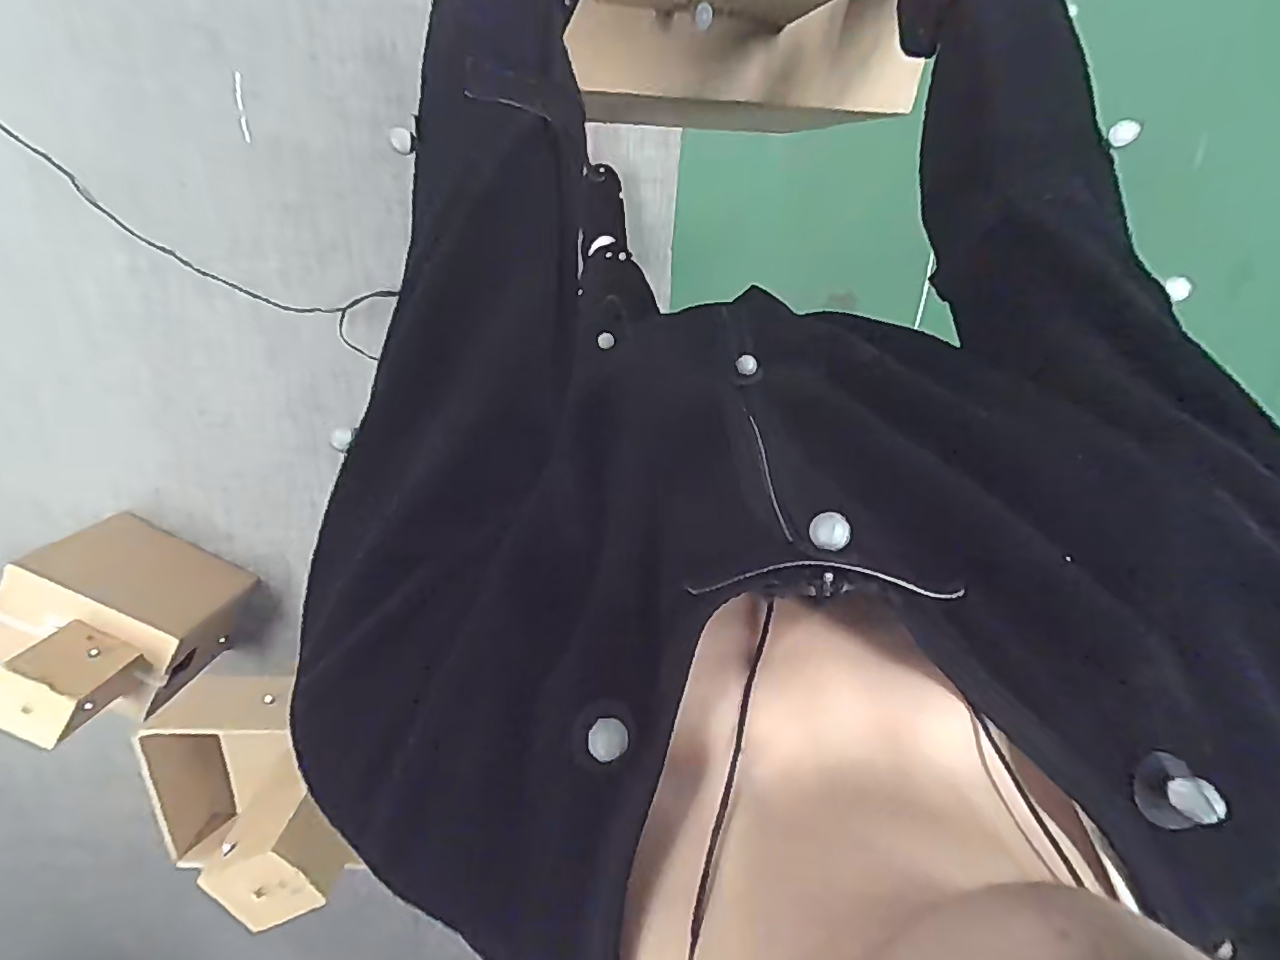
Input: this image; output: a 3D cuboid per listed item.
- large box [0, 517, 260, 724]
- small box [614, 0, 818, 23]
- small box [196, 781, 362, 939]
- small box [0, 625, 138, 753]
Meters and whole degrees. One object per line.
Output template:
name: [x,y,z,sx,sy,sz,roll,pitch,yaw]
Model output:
large box: [-1.366,0.369,1.472,0.408,0.320,0.320,32,105,-10]
small box: [0.061,-0.421,0.334,0.168,0.176,0.179,-1,120,-8]
small box: [-0.698,0.742,1.069,0.179,0.176,0.168,-25,108,6]
small box: [-1.331,0.478,1.252,0.168,0.176,0.179,36,105,-12]
